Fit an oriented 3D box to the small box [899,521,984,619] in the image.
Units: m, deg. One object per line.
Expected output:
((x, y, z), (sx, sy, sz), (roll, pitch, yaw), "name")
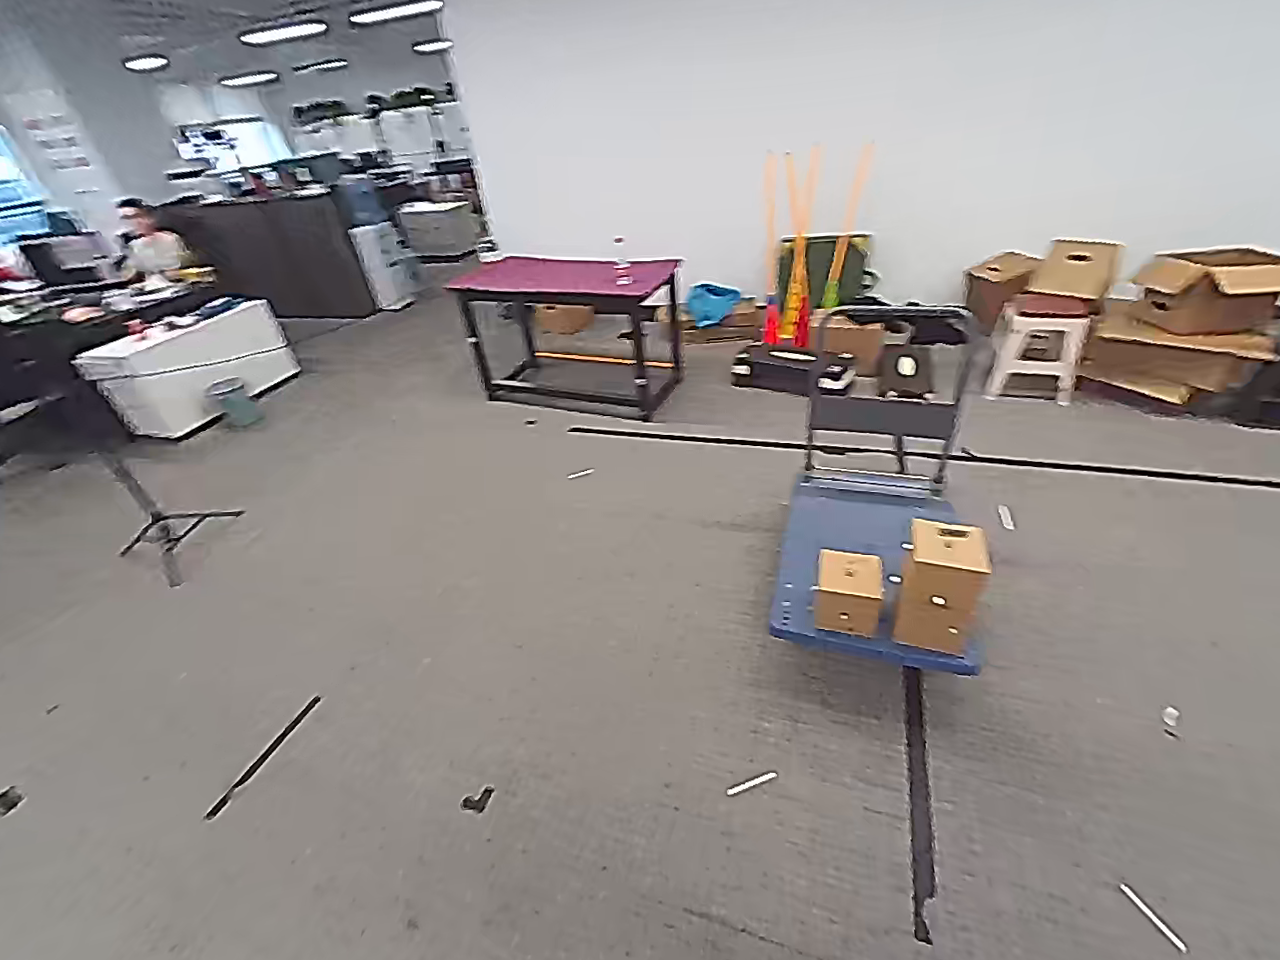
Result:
((0.799, 0.239, 1.450), (0.168, 0.176, 0.179), (8, 38, 20), "small box")

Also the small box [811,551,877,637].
((0.608, 0.342, 1.619), (0.168, 0.176, 0.179), (7, 37, 17), "small box")
